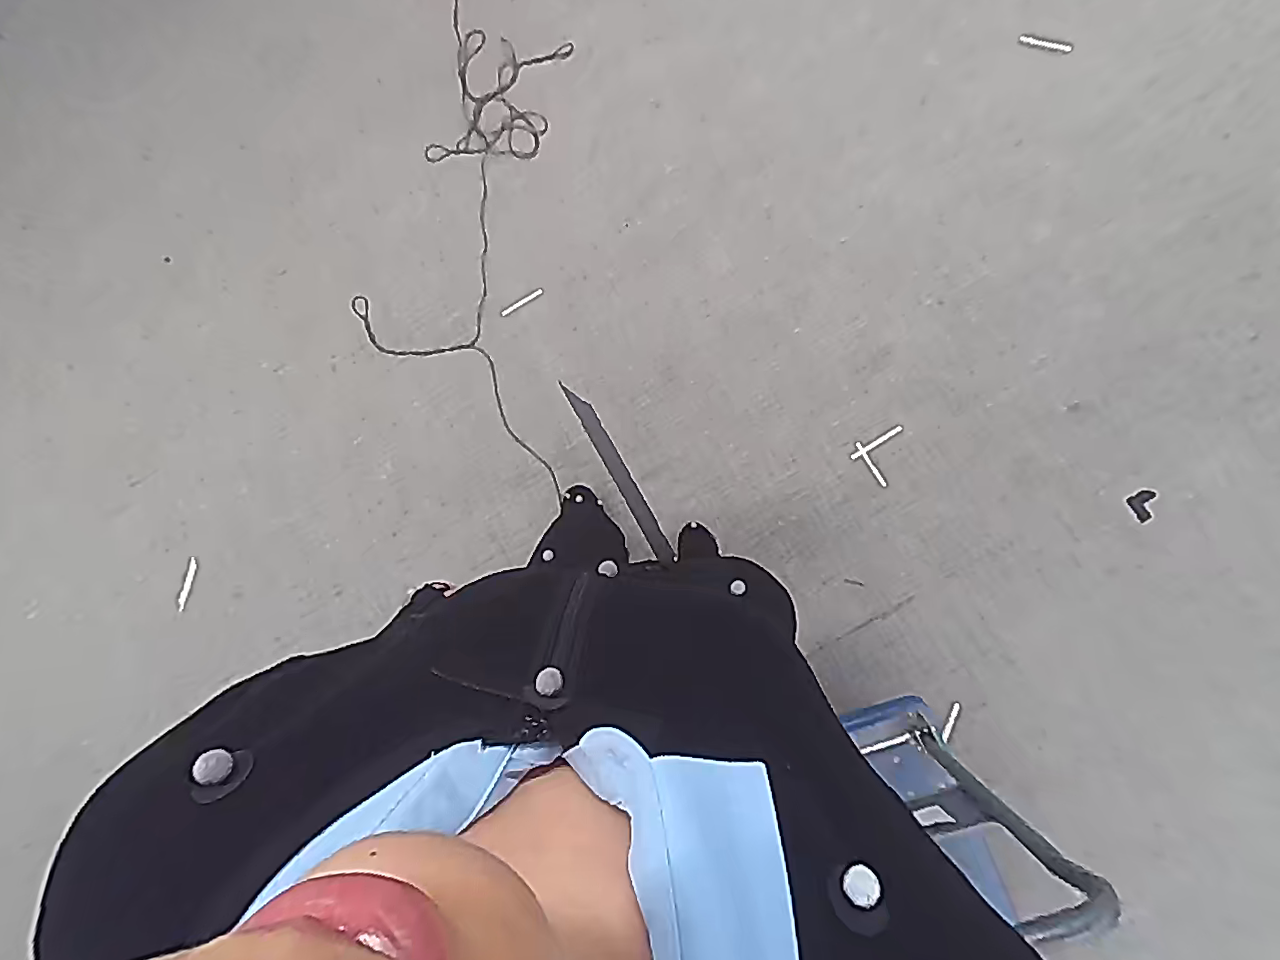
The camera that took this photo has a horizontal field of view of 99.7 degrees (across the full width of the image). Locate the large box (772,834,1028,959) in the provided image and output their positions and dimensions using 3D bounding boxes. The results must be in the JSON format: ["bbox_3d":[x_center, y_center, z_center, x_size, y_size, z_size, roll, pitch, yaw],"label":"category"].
[{"bbox_3d":[0.520,0.988,1.065,0.408,0.320,0.320,-20,84,3],"label":"large box"}]
